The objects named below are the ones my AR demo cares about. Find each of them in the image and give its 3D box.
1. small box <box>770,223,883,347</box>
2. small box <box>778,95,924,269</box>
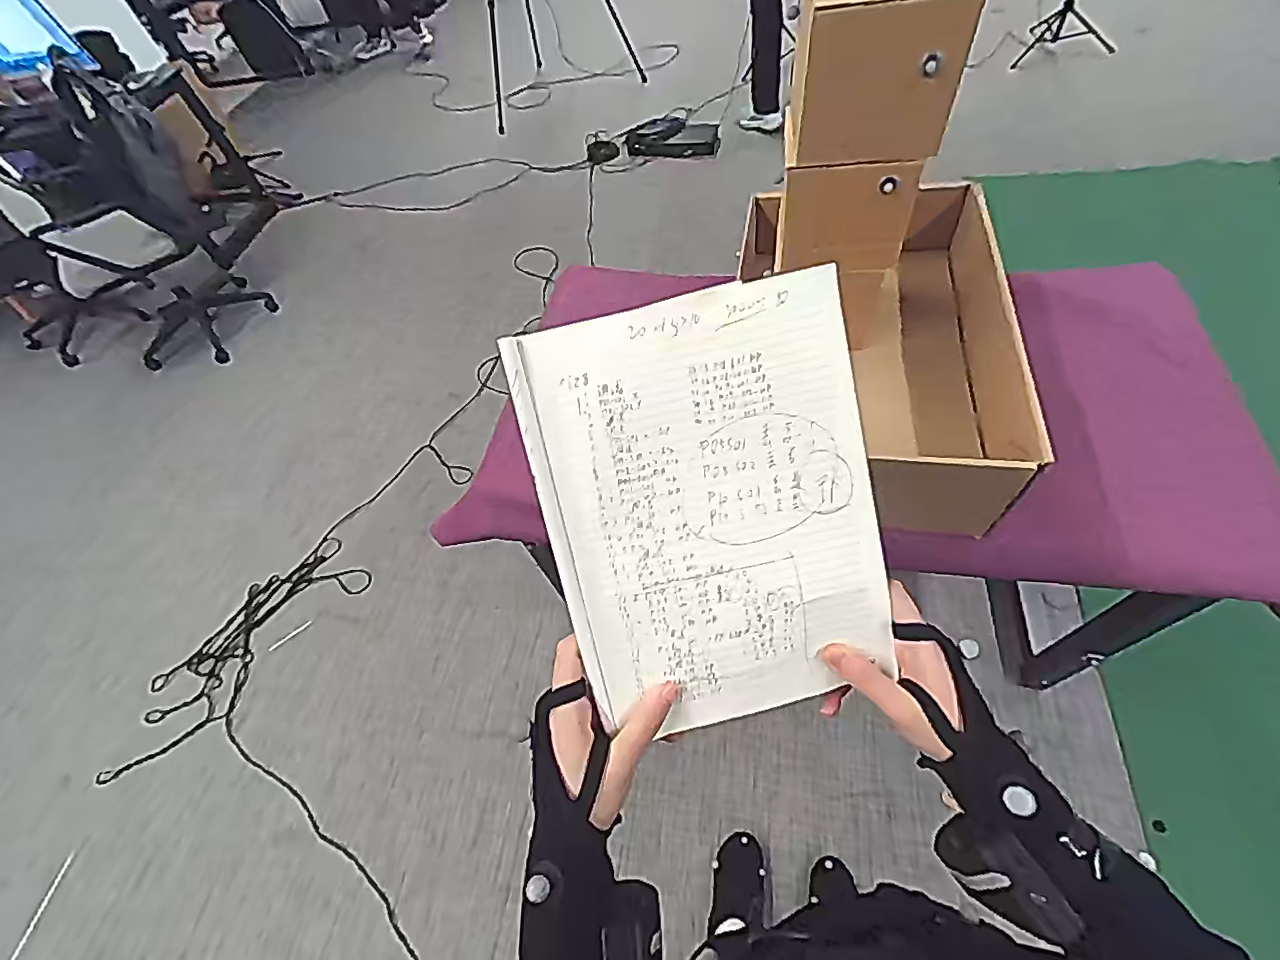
[{"bbox_3d":[0.319,-0.351,0.943,0.168,0.176,0.179,5,60,13],"label":"small box"},{"bbox_3d":[0.299,-0.434,0.805,0.179,0.176,0.168,3,59,12],"label":"small box"}]
